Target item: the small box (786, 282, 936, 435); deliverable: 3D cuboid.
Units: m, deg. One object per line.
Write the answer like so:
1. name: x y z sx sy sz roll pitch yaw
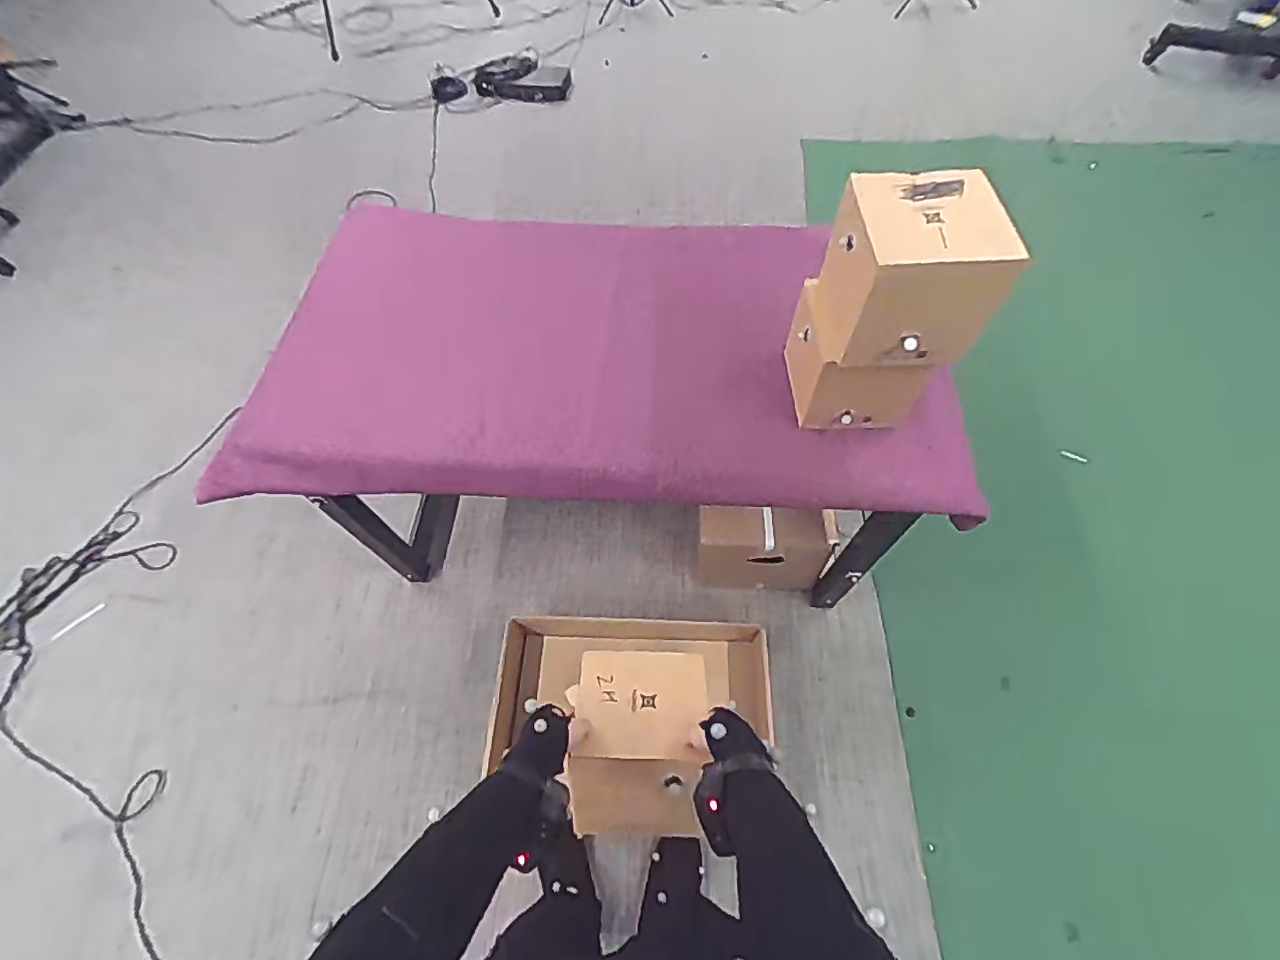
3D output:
1. small box: 0.333 -0.190 0.851 0.168 0.176 0.179 -2 58 3

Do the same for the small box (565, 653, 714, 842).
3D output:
1. small box: 0.002 0.360 0.733 0.179 0.176 0.168 0 29 2

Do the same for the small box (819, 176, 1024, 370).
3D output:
1. small box: 0.343 -0.264 0.704 0.168 0.176 0.179 -2 59 3
